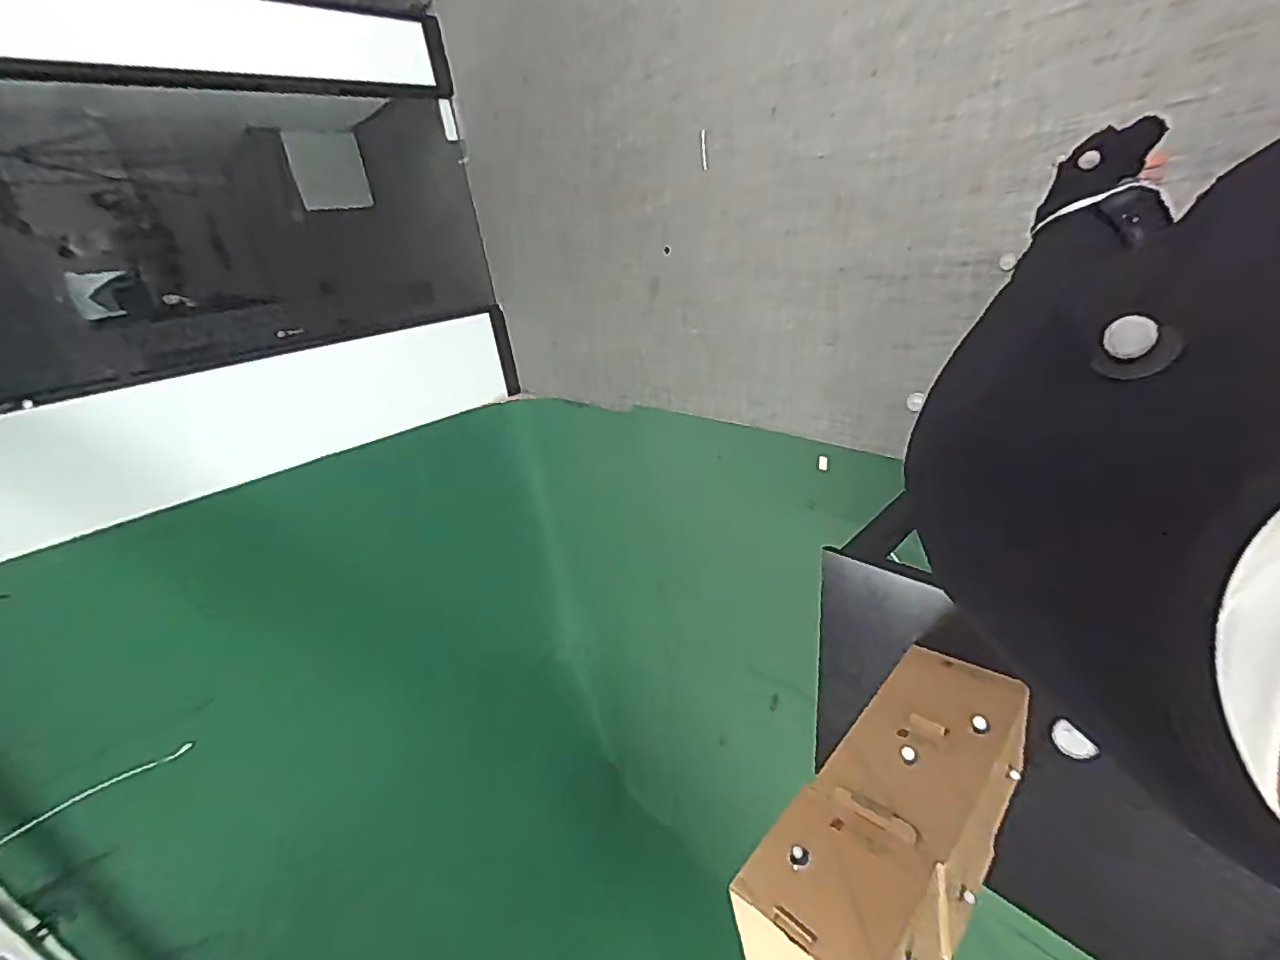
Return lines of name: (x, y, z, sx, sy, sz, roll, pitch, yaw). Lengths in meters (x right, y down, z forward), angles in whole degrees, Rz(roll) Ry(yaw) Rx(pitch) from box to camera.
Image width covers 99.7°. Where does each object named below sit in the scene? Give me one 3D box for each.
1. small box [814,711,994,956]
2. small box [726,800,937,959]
small box: (0.357, 0.455, 0.726, 0.168, 0.176, 0.179, 9, 118, 47)
small box: (0.225, 0.522, 0.624, 0.168, 0.176, 0.179, 9, 120, 47)
